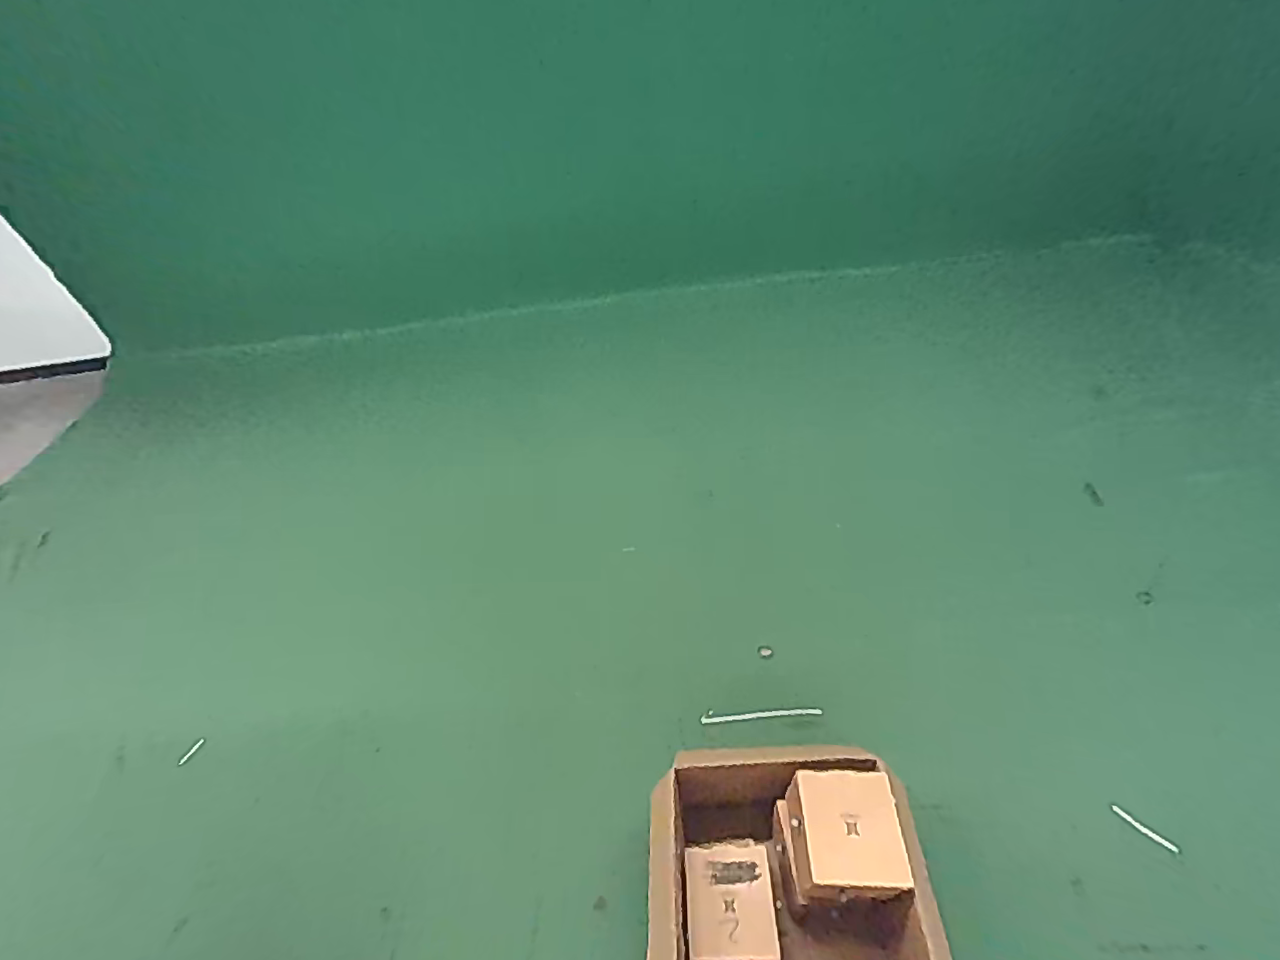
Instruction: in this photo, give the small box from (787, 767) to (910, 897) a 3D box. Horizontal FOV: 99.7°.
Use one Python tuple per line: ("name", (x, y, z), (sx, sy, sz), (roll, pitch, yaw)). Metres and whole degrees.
("small box", (0.374, 0.654, 1.002), (0.168, 0.176, 0.179), (-2, 45, 5))
